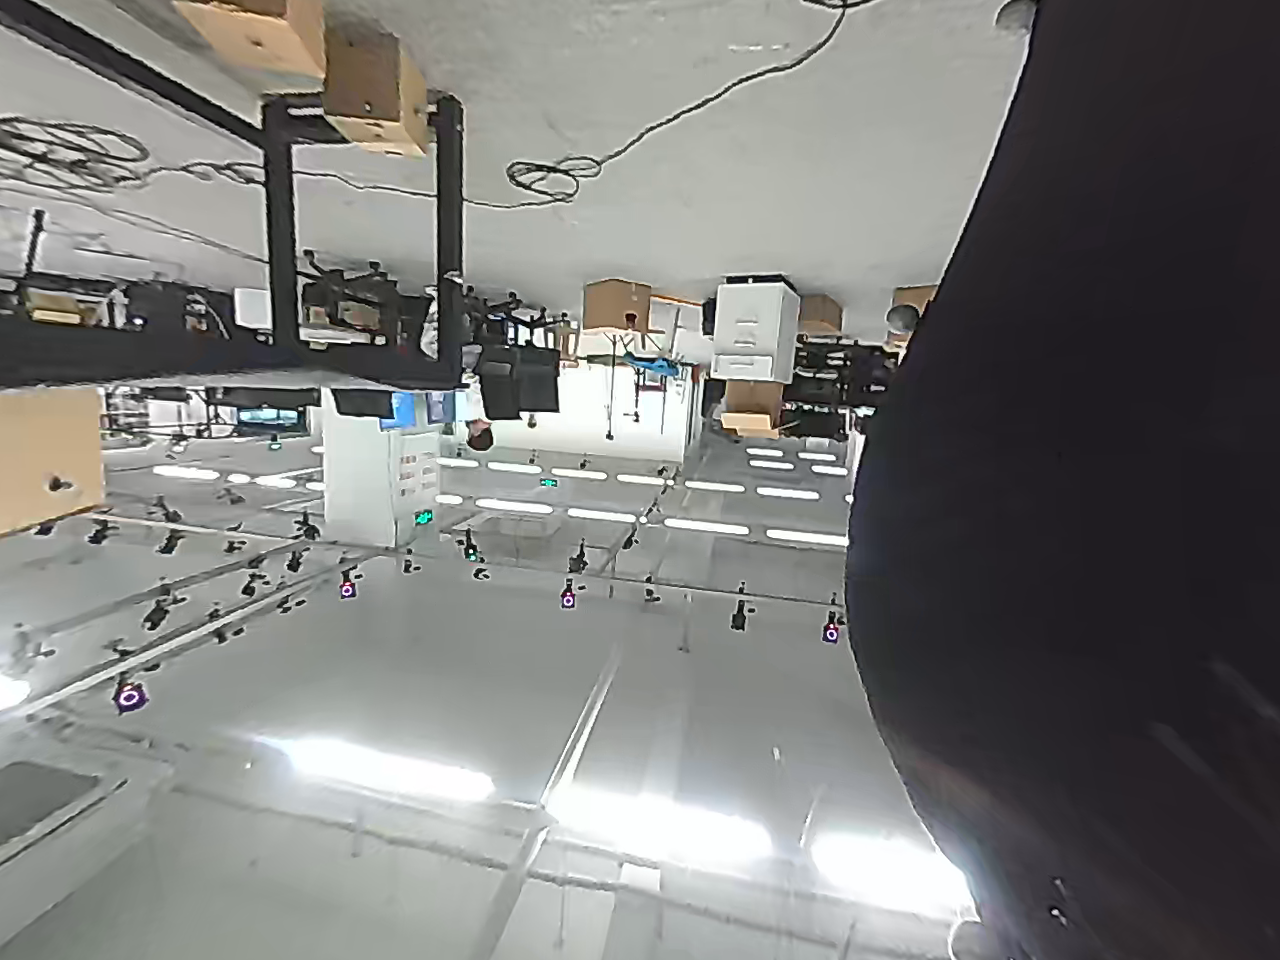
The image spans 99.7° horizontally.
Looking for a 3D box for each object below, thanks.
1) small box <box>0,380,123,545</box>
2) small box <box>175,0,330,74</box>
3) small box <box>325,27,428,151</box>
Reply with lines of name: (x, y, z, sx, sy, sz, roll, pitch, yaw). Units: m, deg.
small box: (-0.770, -0.033, 0.639, 0.168, 0.176, 0.179, 3, -168, -12)
small box: (-0.637, -0.820, 0.894, 0.168, 0.176, 0.179, 2, -168, -11)
small box: (-0.593, -0.881, 1.233, 0.168, 0.176, 0.179, 2, -169, -3)
